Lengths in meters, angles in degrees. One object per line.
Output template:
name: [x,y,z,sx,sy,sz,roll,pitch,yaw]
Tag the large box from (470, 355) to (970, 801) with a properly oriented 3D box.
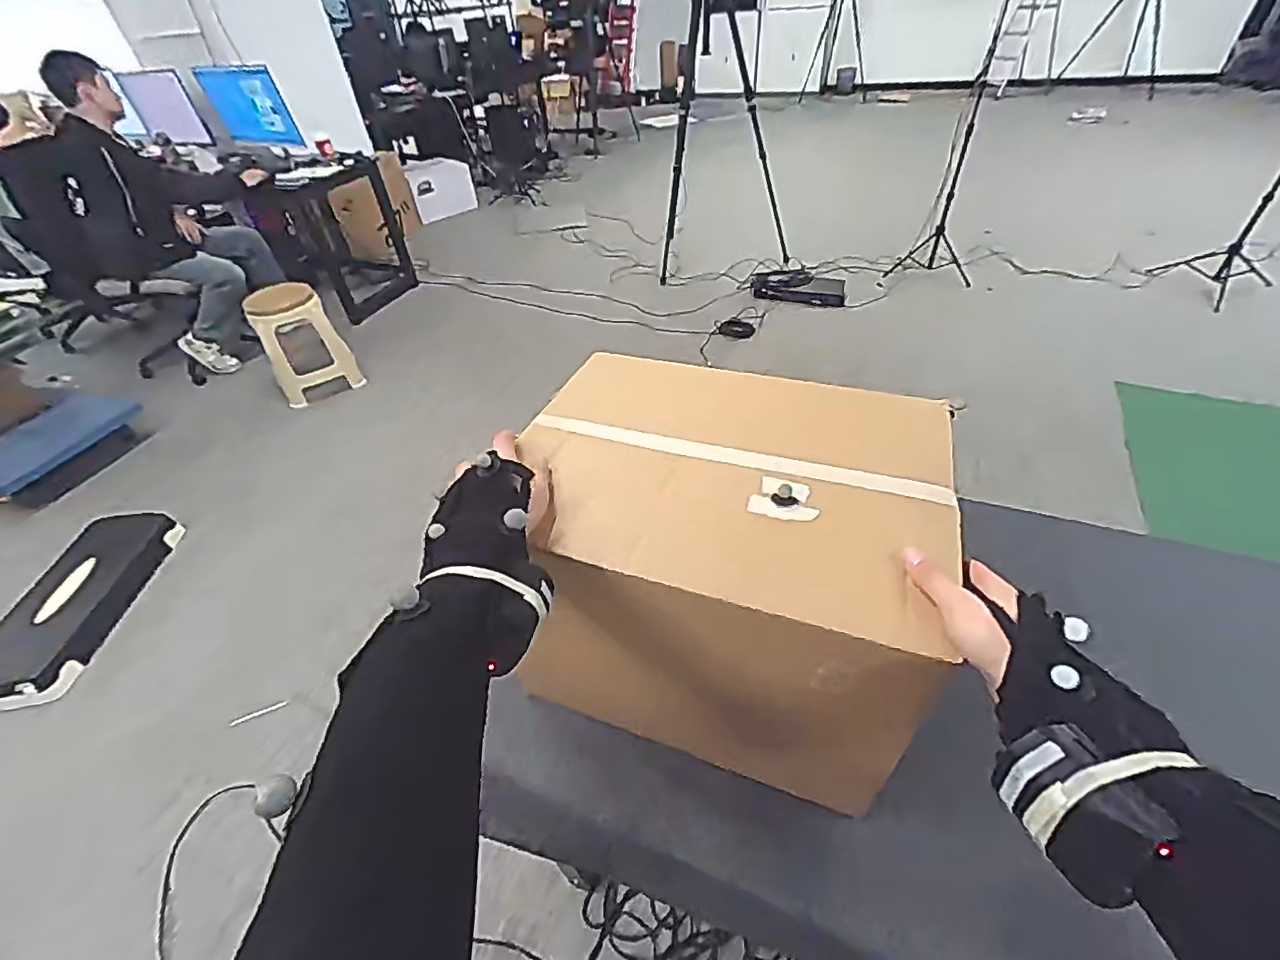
large box: [0.091,0.090,0.616,0.408,0.320,0.320,13,46,17]
